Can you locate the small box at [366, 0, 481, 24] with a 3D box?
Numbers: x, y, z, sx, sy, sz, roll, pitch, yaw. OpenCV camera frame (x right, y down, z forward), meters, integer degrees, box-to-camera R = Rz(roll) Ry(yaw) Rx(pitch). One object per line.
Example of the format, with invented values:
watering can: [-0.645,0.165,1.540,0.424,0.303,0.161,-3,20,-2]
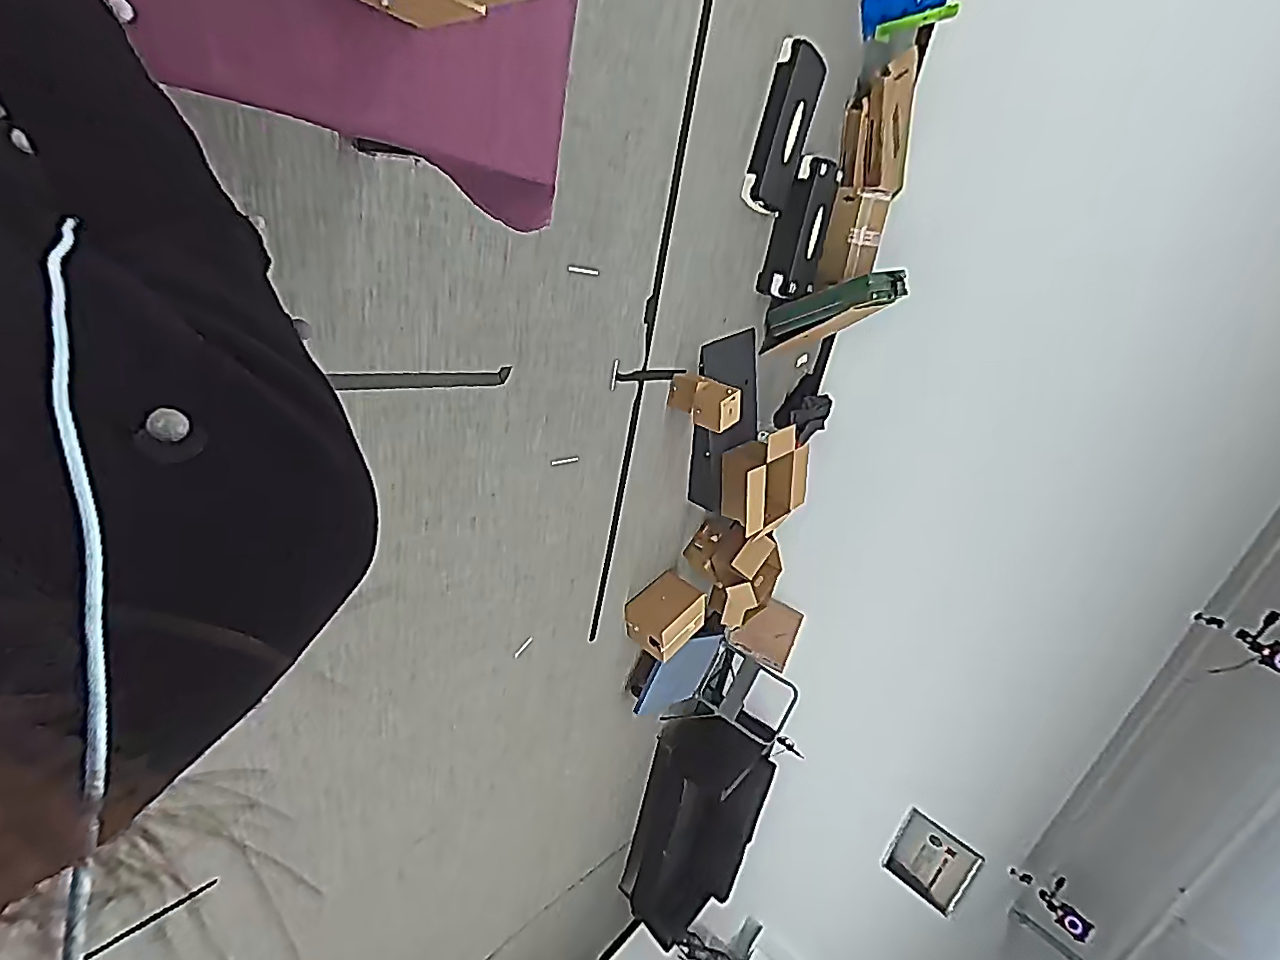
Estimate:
small box: [-0.295,-0.672,0.630,0.168,0.176,0.179,-14,124,-47]

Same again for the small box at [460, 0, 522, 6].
small box: [-0.173,-0.617,0.534,0.168,0.176,0.179,-13,123,-47]
